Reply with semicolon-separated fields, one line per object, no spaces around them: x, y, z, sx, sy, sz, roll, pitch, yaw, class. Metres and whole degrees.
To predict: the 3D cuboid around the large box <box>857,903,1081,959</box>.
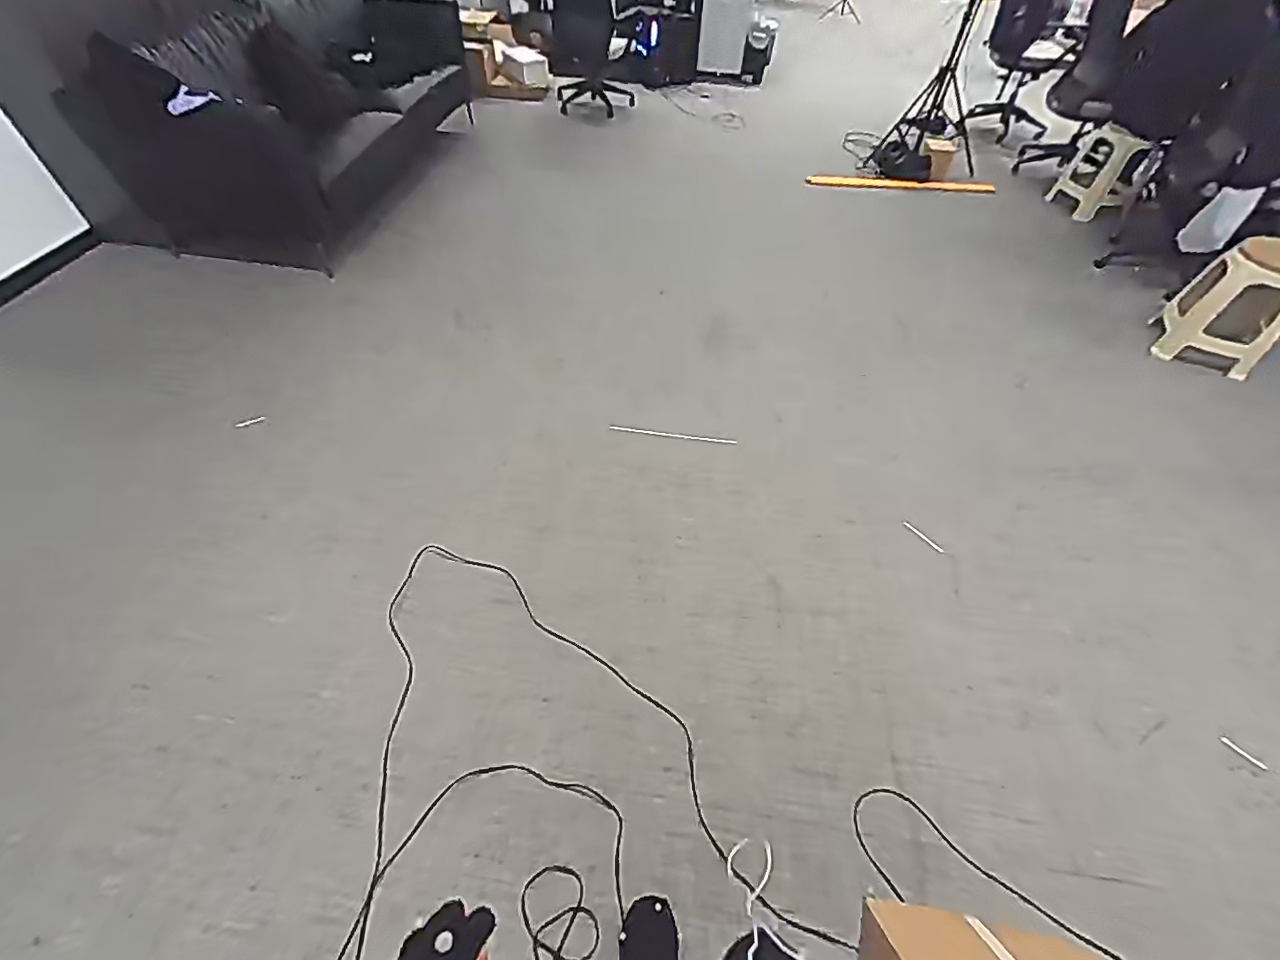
0.462;0.792;0.605;0.320;0.408;0.320;11;83;2;large box
